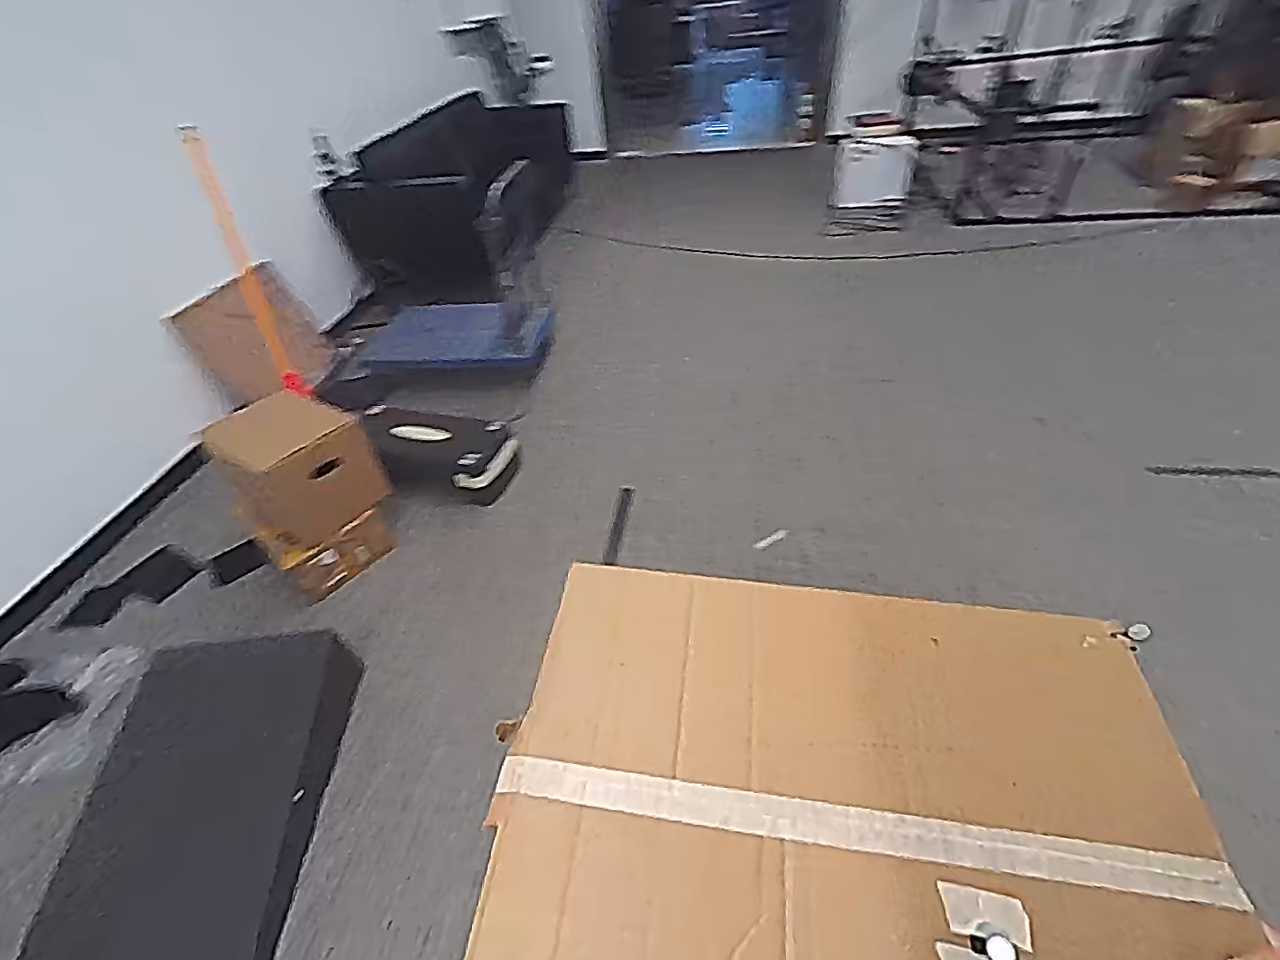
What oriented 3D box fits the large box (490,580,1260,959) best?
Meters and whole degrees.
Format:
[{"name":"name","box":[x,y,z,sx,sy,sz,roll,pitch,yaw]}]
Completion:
[{"name":"large box","box":[0.130,0.308,0.432,0.408,0.320,0.320,6,51,7]}]
